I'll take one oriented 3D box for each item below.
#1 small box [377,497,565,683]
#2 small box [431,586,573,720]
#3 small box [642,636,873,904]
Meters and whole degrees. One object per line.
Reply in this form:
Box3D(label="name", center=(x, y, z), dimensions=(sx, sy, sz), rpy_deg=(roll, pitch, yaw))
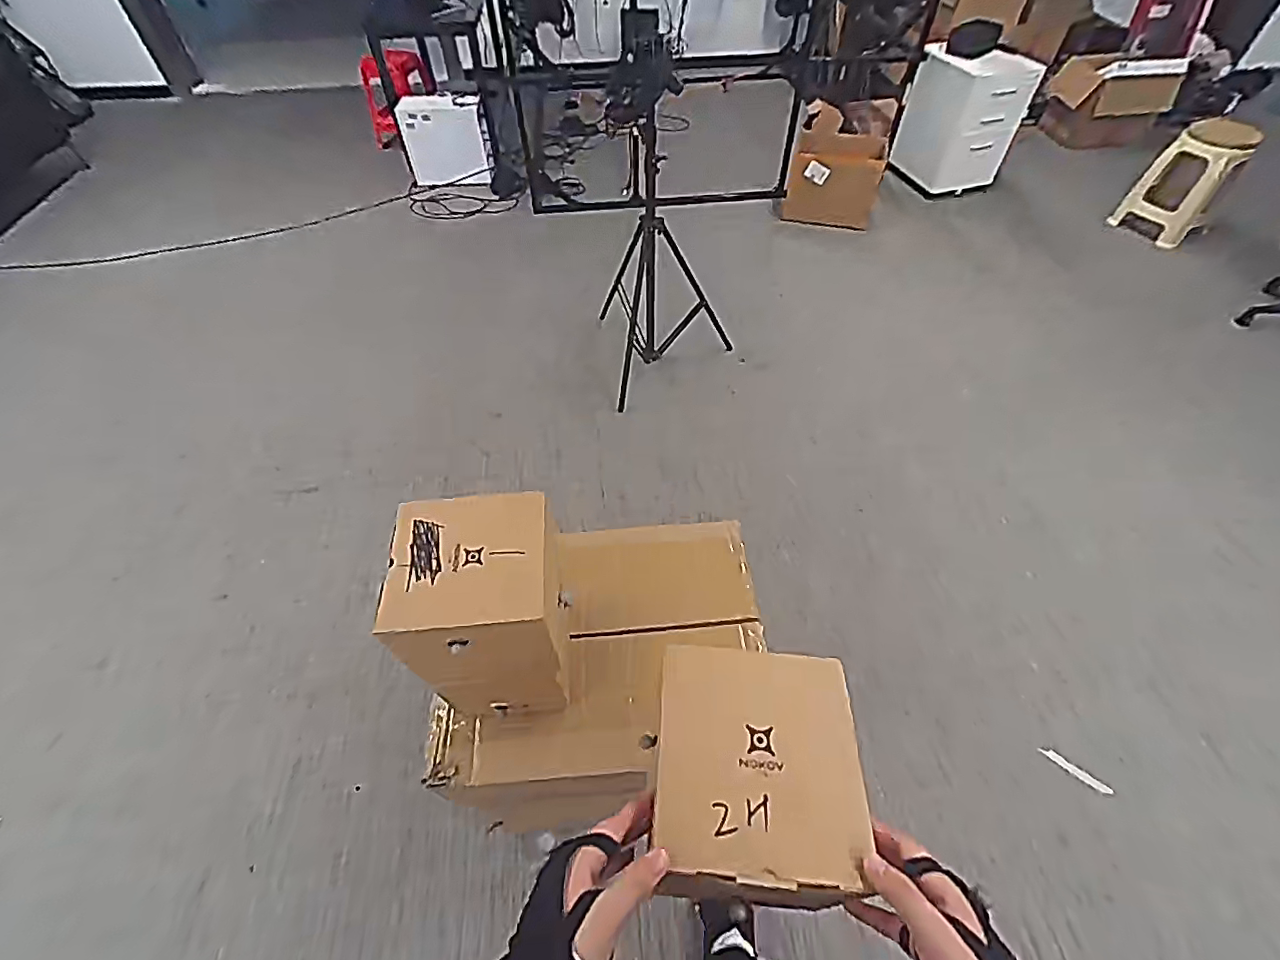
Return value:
Box3D(label="small box", center=(-0.192, 0.141, 0.672), dimensions=(0.179, 0.176, 0.168), rpy_deg=(-5, 53, -3))
Box3D(label="small box", center=(-0.192, 0.239, 0.804), dimensions=(0.168, 0.176, 0.179), rpy_deg=(-5, 54, -2))
Box3D(label="small box", center=(0.092, 0.273, 0.509), dimensions=(0.168, 0.176, 0.179), rpy_deg=(5, 47, 1))
